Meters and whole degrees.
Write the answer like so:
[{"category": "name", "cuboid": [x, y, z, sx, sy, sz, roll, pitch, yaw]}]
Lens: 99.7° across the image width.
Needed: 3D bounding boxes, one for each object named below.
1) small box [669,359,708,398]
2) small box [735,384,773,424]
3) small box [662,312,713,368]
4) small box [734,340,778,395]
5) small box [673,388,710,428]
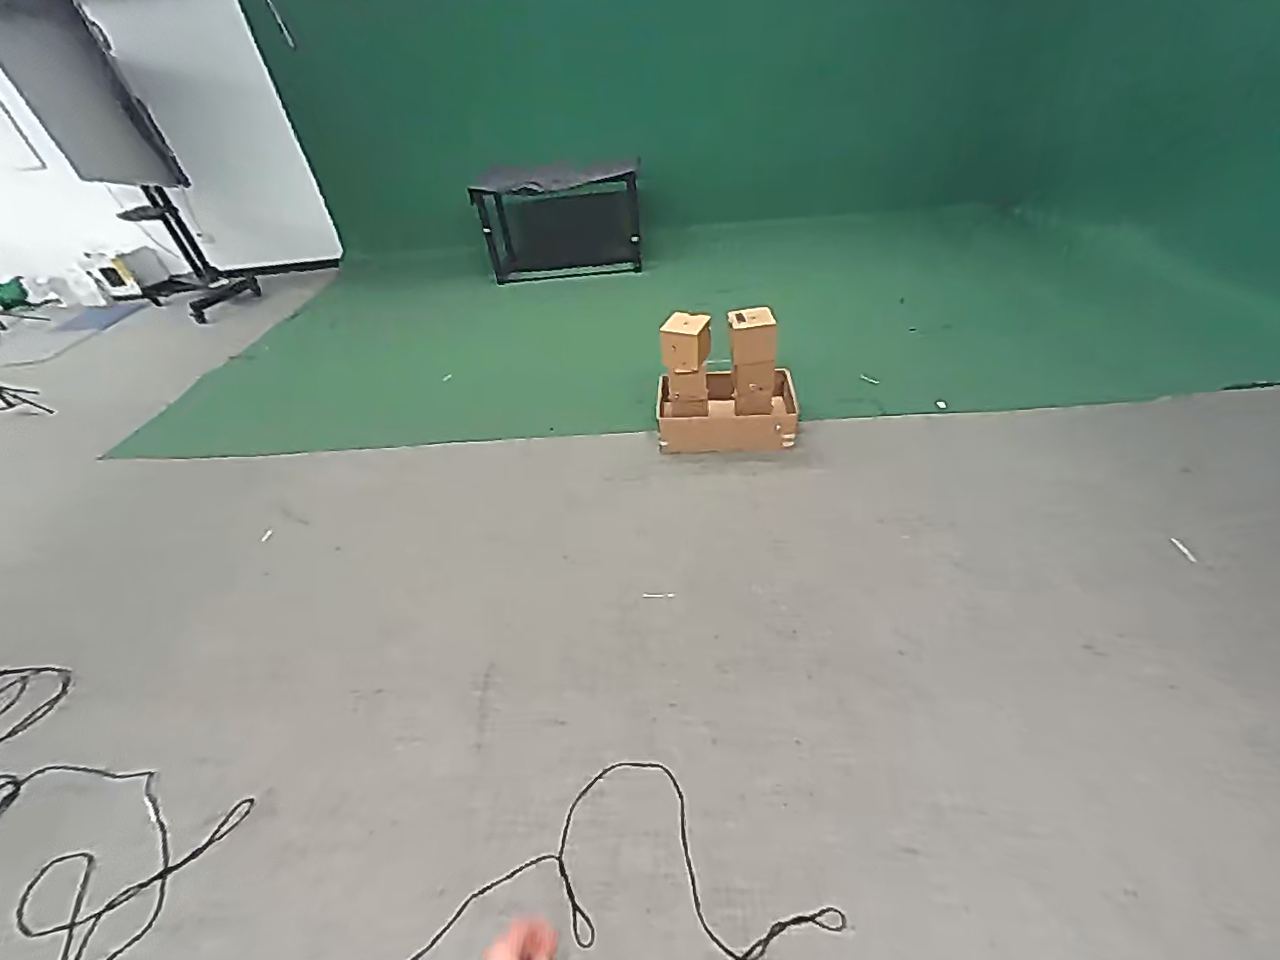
[{"category": "small box", "cuboid": [0.219, -0.477, 2.419, 0.168, 0.176, 0.179, -1, 40, 5]}, {"category": "small box", "cuboid": [0.530, -0.379, 2.520, 0.168, 0.176, 0.179, 0, 41, 10]}, {"category": "small box", "cuboid": [0.208, -0.595, 2.308, 0.168, 0.176, 0.179, 14, 44, 21]}, {"category": "small box", "cuboid": [0.513, -0.500, 2.413, 0.168, 0.176, 0.179, -7, 43, 3]}, {"category": "small box", "cuboid": [0.239, -0.360, 2.533, 0.168, 0.176, 0.179, -3, 41, 5]}]
